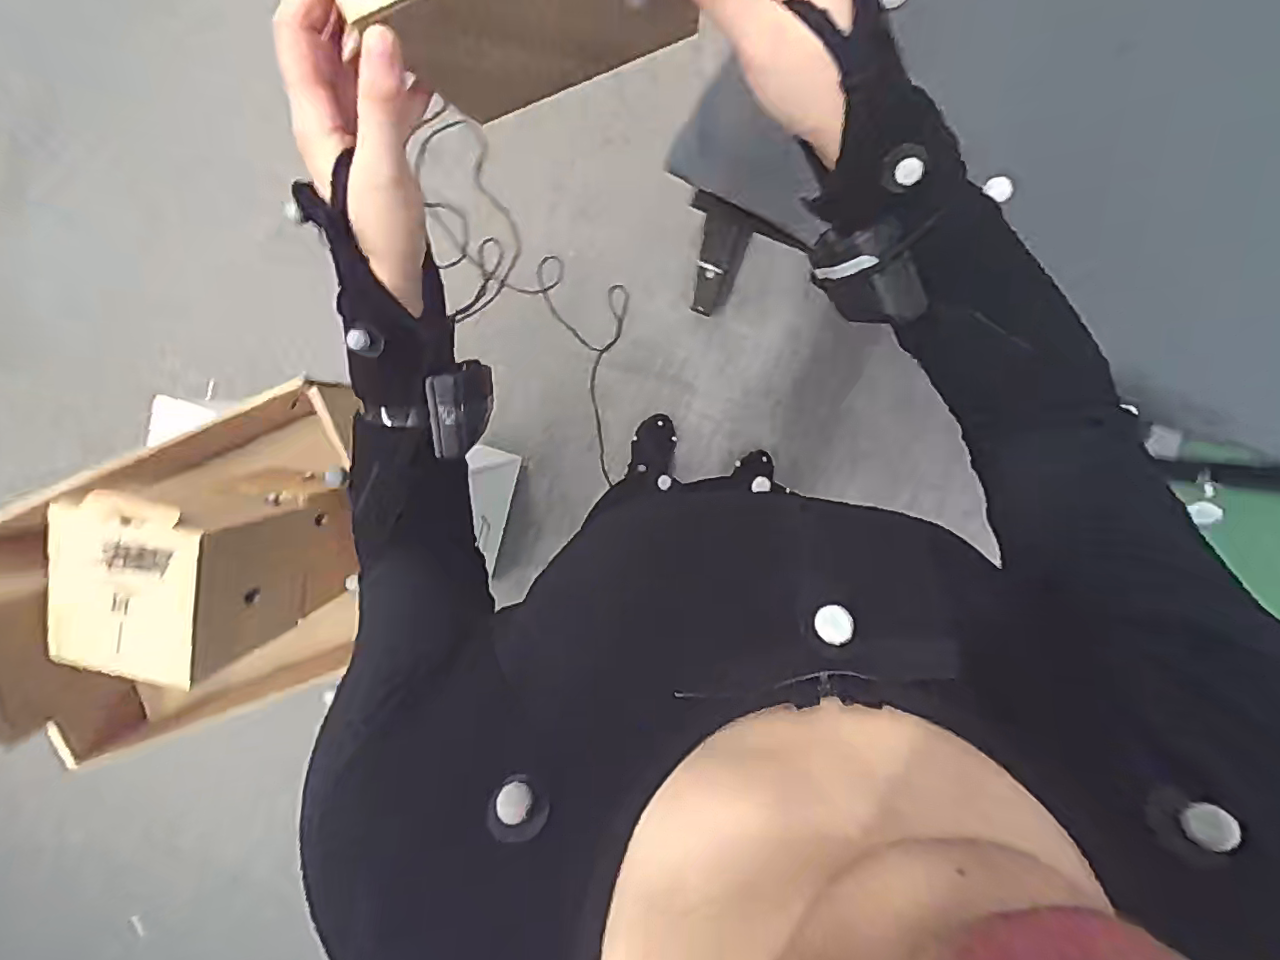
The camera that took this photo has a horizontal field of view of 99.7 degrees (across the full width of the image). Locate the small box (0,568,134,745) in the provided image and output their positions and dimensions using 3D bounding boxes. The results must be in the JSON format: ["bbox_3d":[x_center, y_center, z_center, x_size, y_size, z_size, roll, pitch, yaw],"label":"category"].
[{"bbox_3d":[-0.796,0.213,0.678,0.179,0.176,0.168,-6,99,2],"label":"small box"}]

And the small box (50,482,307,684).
[{"bbox_3d":[-0.535,0.108,0.649,0.168,0.176,0.179,12,100,3],"label":"small box"}]
